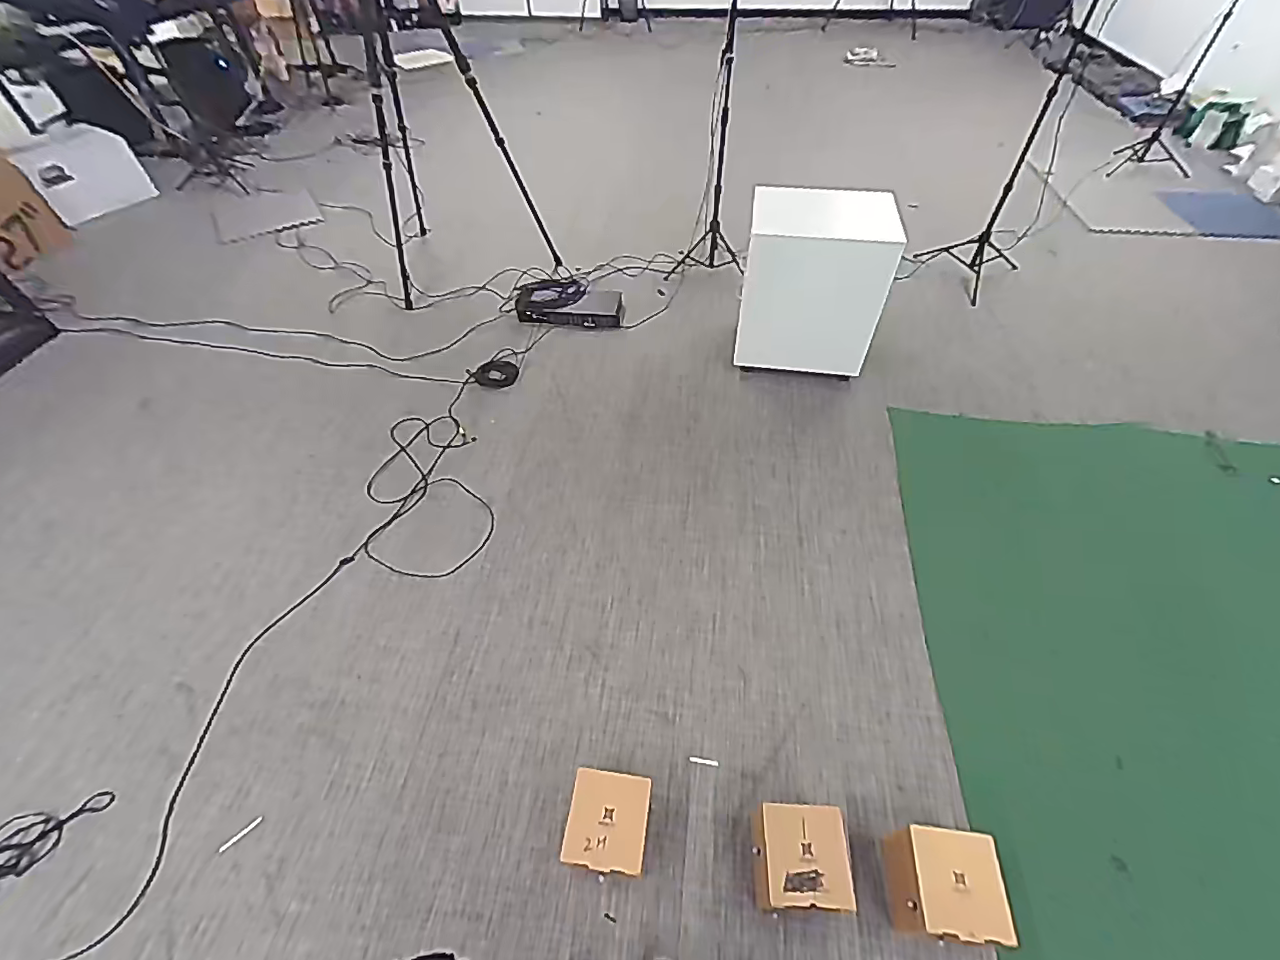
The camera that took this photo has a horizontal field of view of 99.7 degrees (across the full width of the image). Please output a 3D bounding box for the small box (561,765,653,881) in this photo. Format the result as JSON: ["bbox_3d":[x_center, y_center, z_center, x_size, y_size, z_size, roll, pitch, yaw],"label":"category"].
[{"bbox_3d":[-0.065,0.749,1.180,0.168,0.176,0.179,6,51,7],"label":"small box"}]

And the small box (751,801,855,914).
[{"bbox_3d":[0.332,0.796,1.139,0.168,0.176,0.179,3,49,2],"label":"small box"}]

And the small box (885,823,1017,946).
[{"bbox_3d":[0.622,0.829,1.110,0.168,0.176,0.179,5,50,6],"label":"small box"}]
